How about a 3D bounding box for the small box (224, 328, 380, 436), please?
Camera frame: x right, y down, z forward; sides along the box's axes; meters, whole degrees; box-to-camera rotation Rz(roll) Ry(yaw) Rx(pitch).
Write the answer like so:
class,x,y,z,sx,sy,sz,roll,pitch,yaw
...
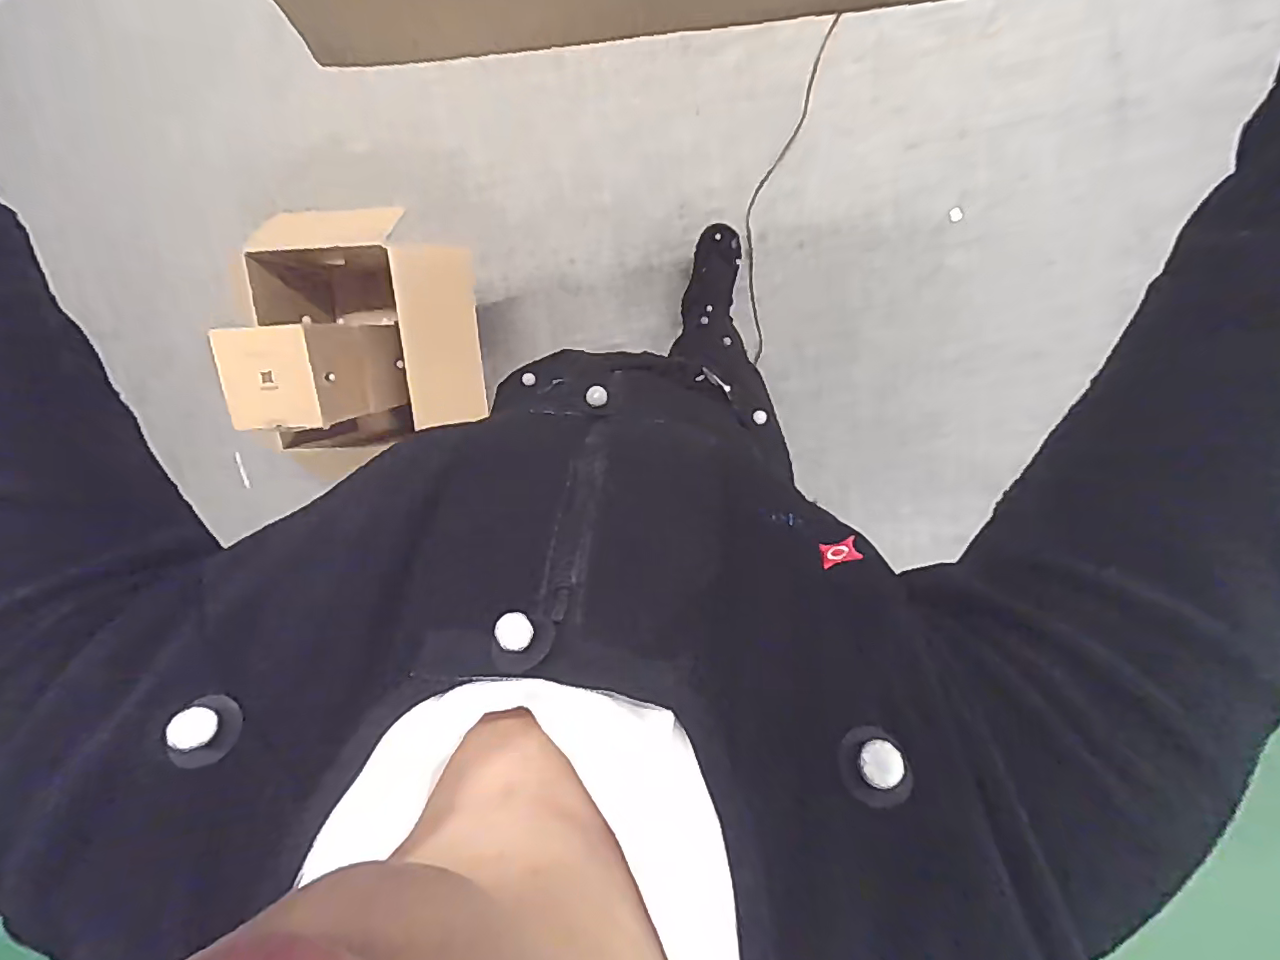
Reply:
class,x,y,z,sx,sy,sz,roll,pitch,yaw
small box,-0.617,-0.189,1.014,0.168,0.176,0.179,-4,105,3
